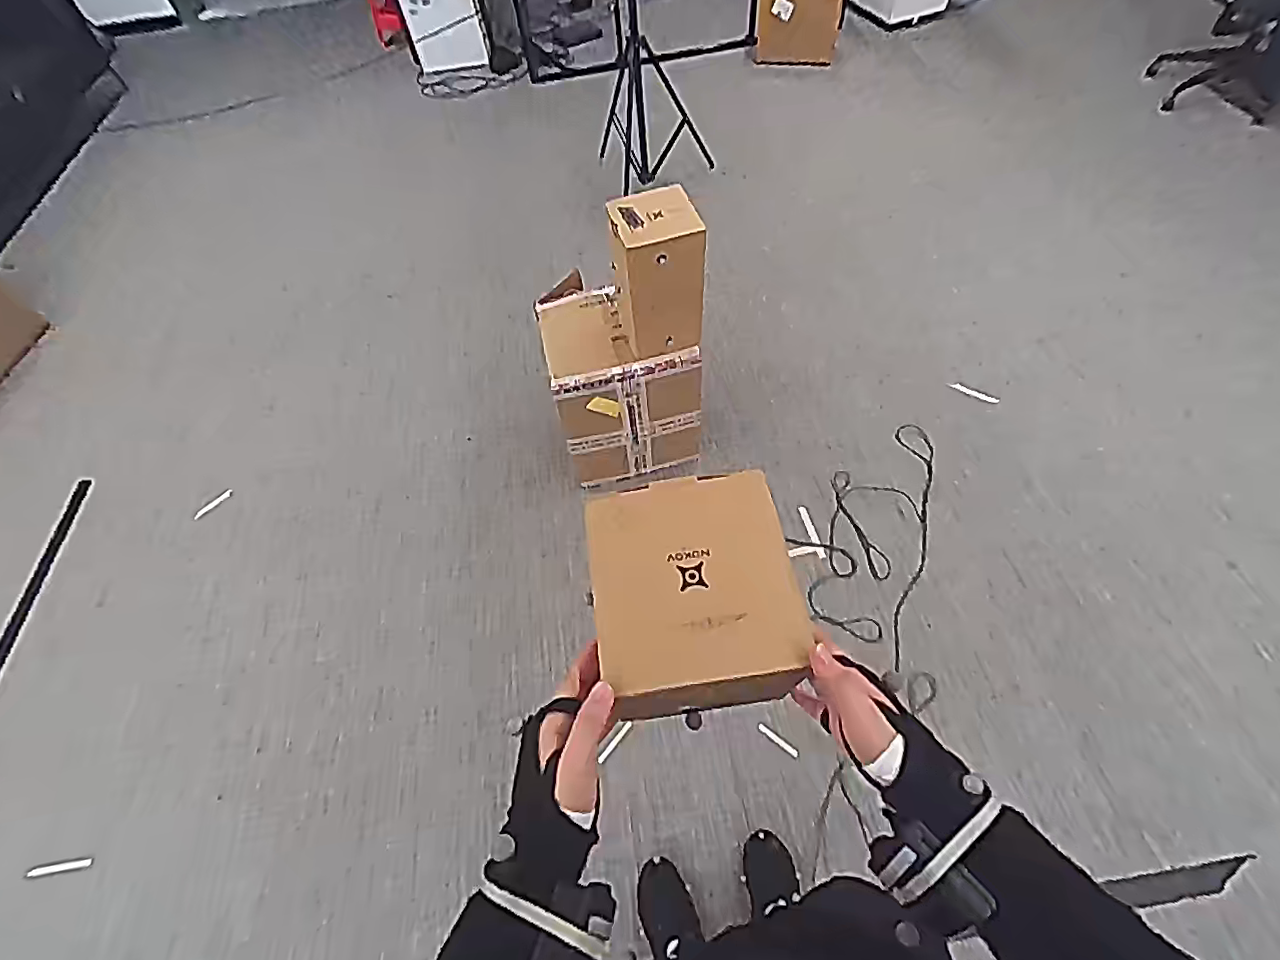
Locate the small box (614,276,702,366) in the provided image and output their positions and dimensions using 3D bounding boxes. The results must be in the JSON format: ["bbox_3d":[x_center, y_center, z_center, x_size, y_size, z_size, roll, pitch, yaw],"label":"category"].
[{"bbox_3d":[0.043,-0.416,1.357,0.179,0.176,0.168,-17,61,-6],"label":"small box"}]

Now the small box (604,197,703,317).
[{"bbox_3d":[0.033,-0.493,1.211,0.179,0.176,0.168,-17,61,-6],"label":"small box"}]

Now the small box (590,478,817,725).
[{"bbox_3d":[0.048,0.122,0.520,0.168,0.176,0.179,-9,59,-1],"label":"small box"}]
